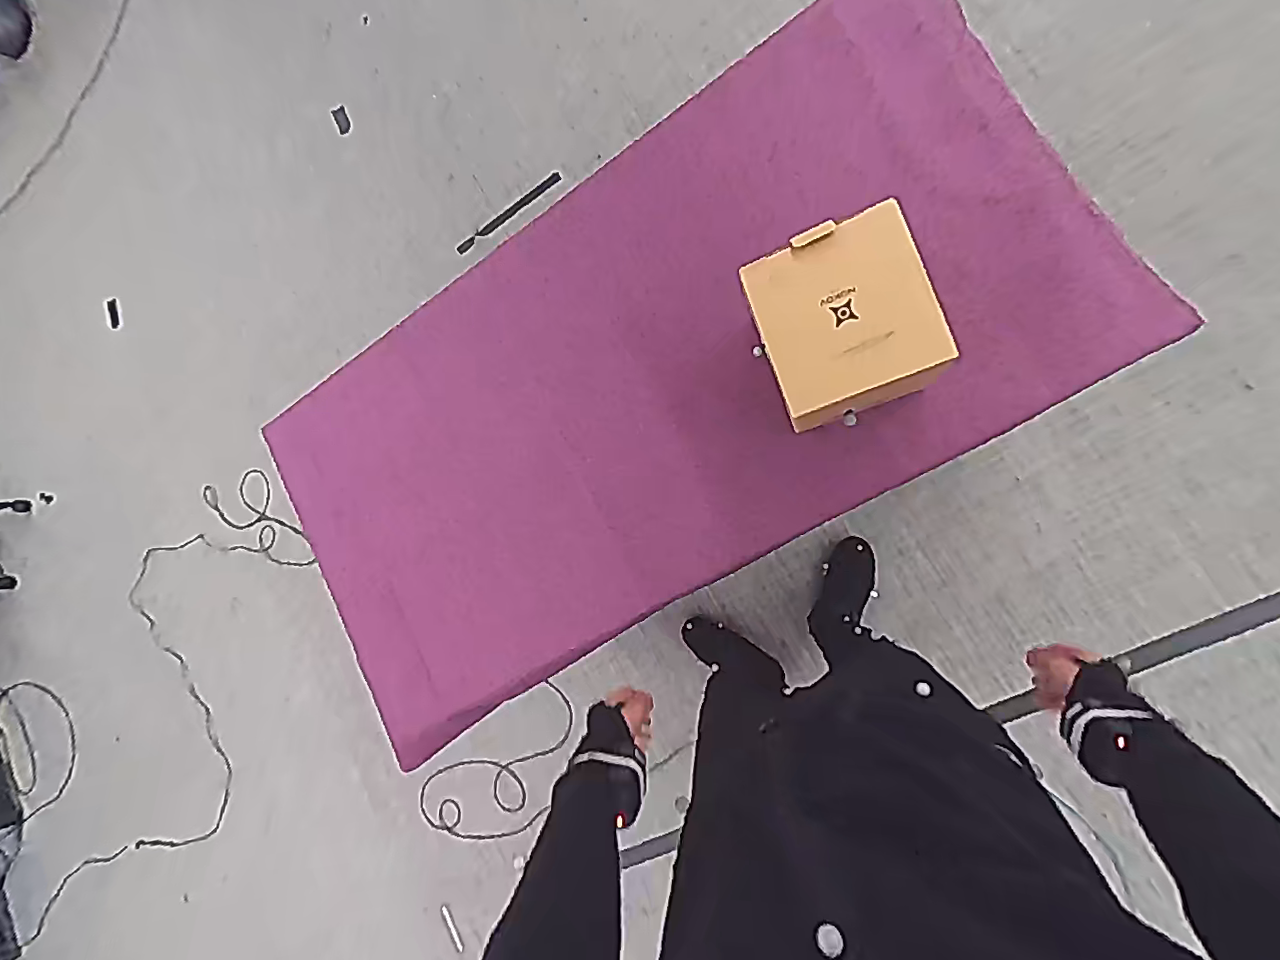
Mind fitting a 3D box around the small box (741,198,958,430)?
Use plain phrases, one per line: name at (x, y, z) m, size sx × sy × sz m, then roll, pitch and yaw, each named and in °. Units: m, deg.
small box at (0.225, -0.170, 0.616) m, size 0.168 × 0.176 × 0.179 m, roll -19°, pitch 83°, yaw 17°
